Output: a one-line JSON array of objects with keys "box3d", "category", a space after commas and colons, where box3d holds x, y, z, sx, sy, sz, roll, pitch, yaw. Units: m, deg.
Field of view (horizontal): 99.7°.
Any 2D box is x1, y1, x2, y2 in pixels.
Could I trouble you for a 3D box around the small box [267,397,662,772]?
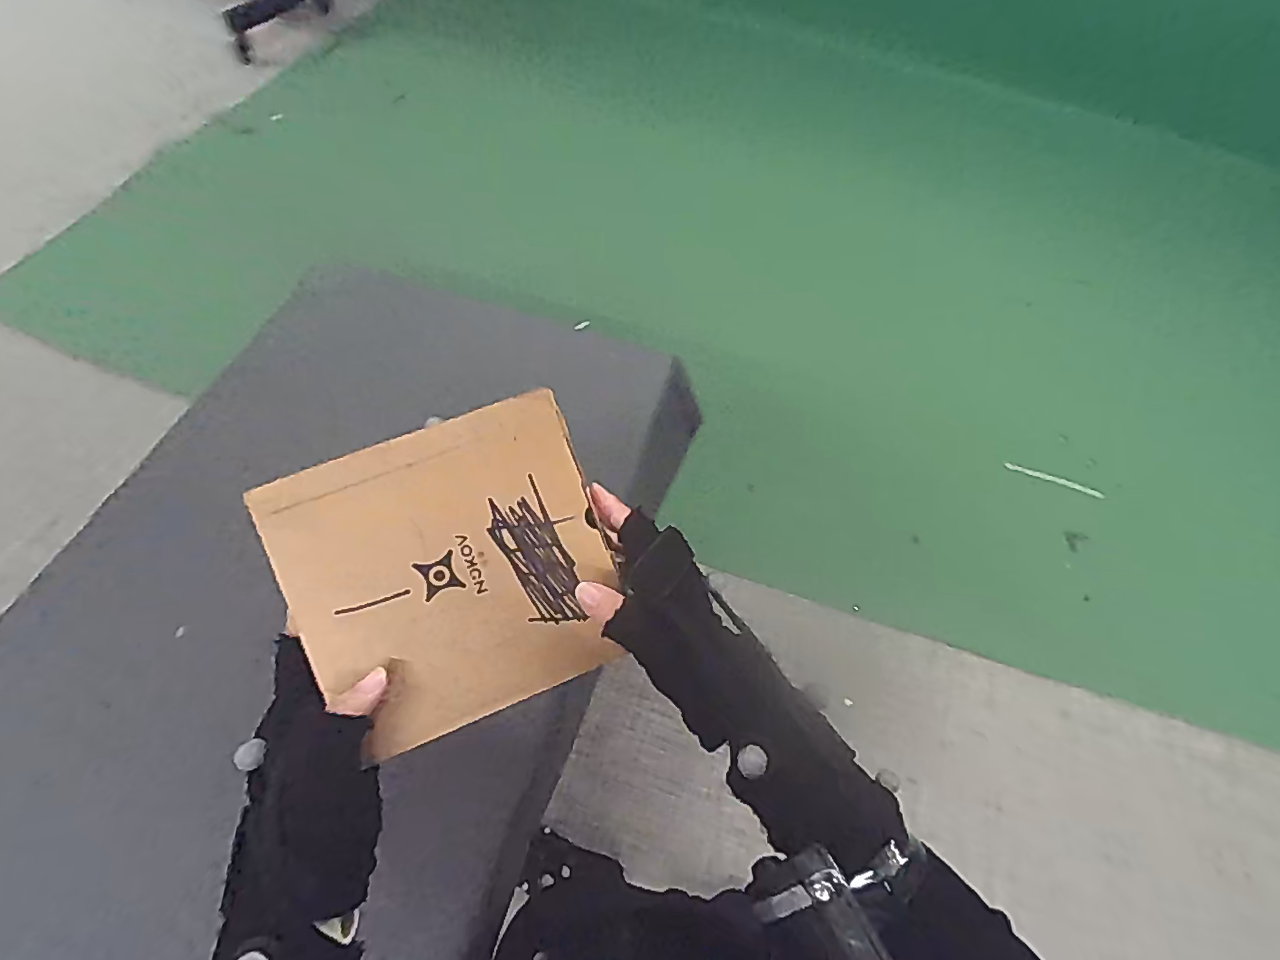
[{"box3d": [-0.108, 0.056, 0.387, 0.179, 0.176, 0.168, -23, 93, -10], "category": "small box"}]
